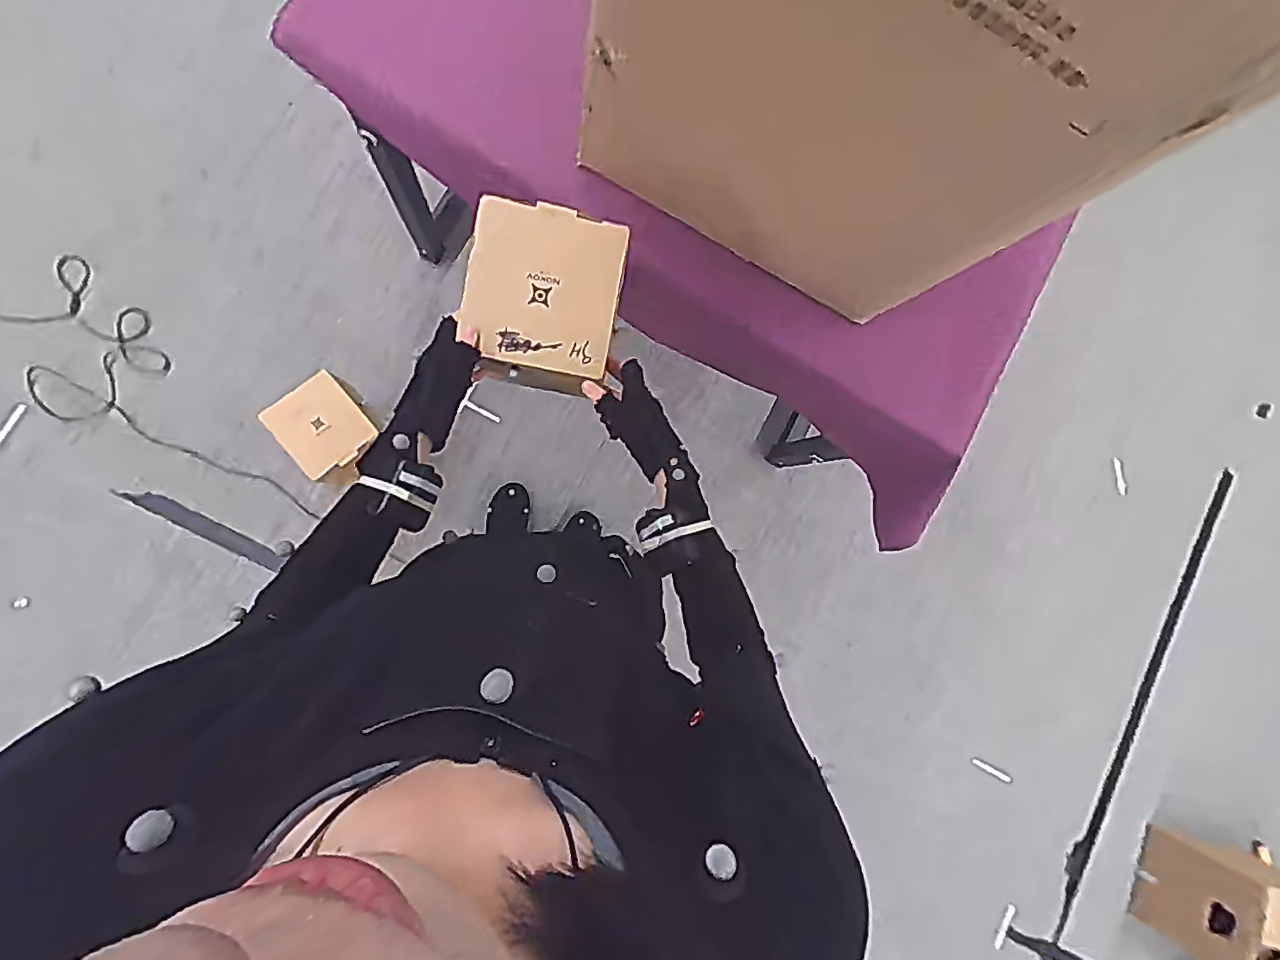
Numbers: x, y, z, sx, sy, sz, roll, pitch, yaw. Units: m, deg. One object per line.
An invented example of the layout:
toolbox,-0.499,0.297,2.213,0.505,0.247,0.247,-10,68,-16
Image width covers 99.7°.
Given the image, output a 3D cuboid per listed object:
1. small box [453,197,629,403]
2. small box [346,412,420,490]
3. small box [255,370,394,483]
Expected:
small box,-0.114,-0.206,0.666,0.168,0.176,0.179,10,89,-5
small box,-0.682,-0.082,1.346,0.179,0.176,0.168,32,83,-8
small box,-0.674,-0.108,1.183,0.168,0.176,0.179,-40,94,-11
